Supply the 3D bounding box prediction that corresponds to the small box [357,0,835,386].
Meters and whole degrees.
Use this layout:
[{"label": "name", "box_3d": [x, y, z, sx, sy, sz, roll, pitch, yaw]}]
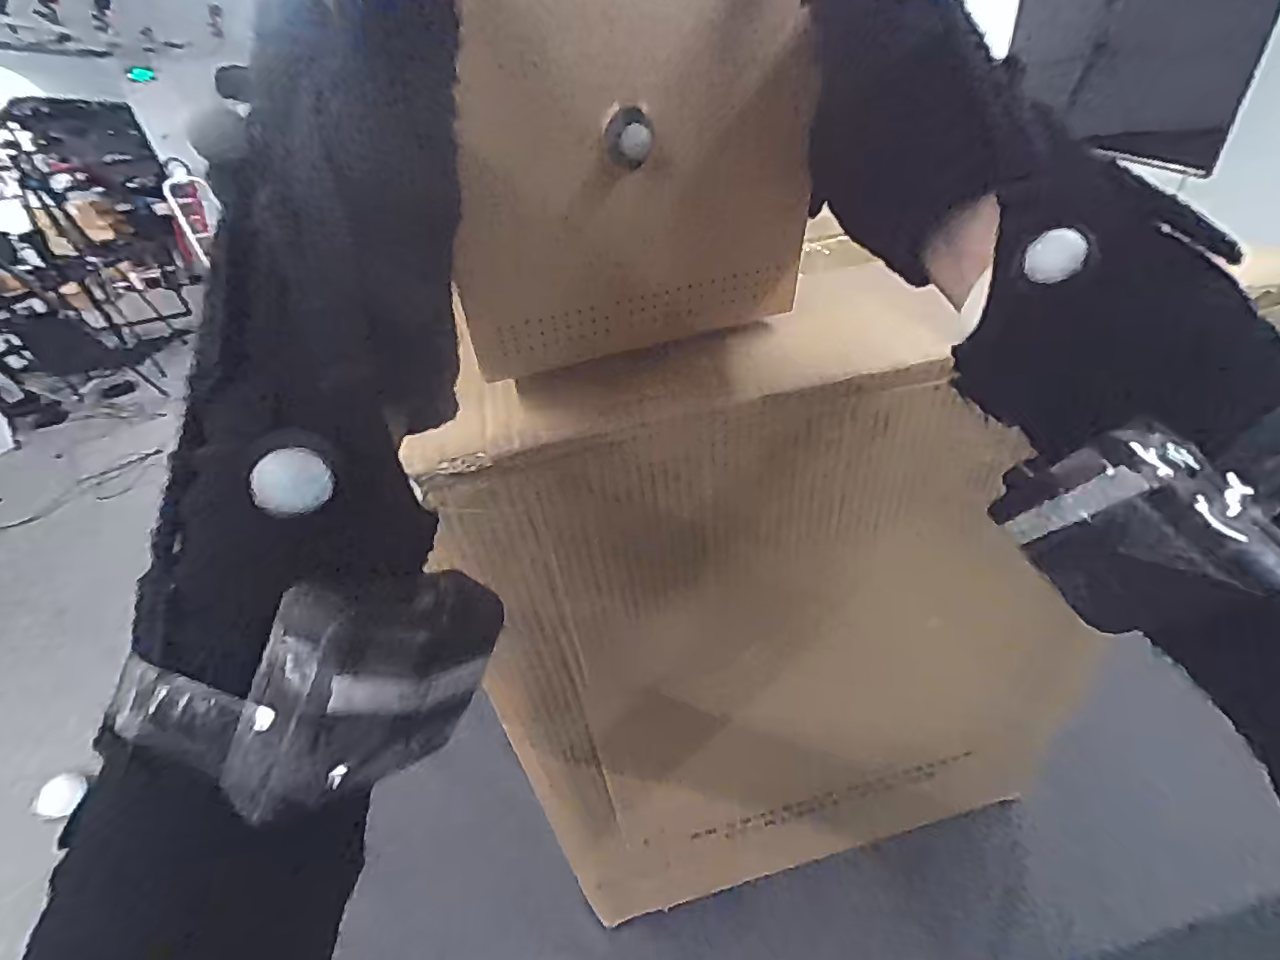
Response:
[{"label": "small box", "box_3d": [-0.031, -0.175, 0.283, 0.179, 0.176, 0.168, -18, 46, -14]}]
